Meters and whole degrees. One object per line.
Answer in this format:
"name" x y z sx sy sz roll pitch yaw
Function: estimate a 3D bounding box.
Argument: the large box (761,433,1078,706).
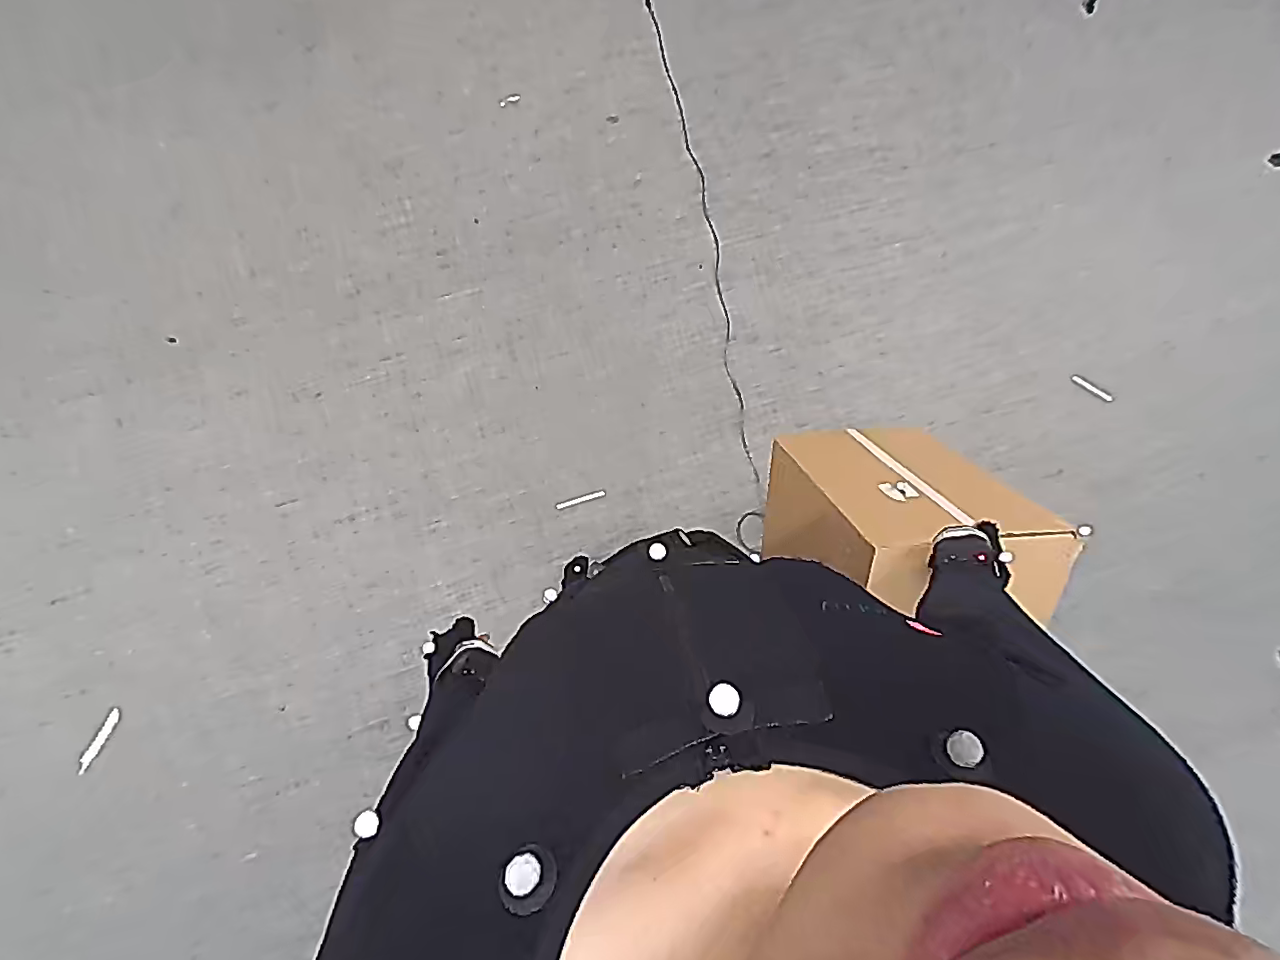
"large box" 0.447 0.135 0.992 0.320 0.408 0.320 -4 119 -6
